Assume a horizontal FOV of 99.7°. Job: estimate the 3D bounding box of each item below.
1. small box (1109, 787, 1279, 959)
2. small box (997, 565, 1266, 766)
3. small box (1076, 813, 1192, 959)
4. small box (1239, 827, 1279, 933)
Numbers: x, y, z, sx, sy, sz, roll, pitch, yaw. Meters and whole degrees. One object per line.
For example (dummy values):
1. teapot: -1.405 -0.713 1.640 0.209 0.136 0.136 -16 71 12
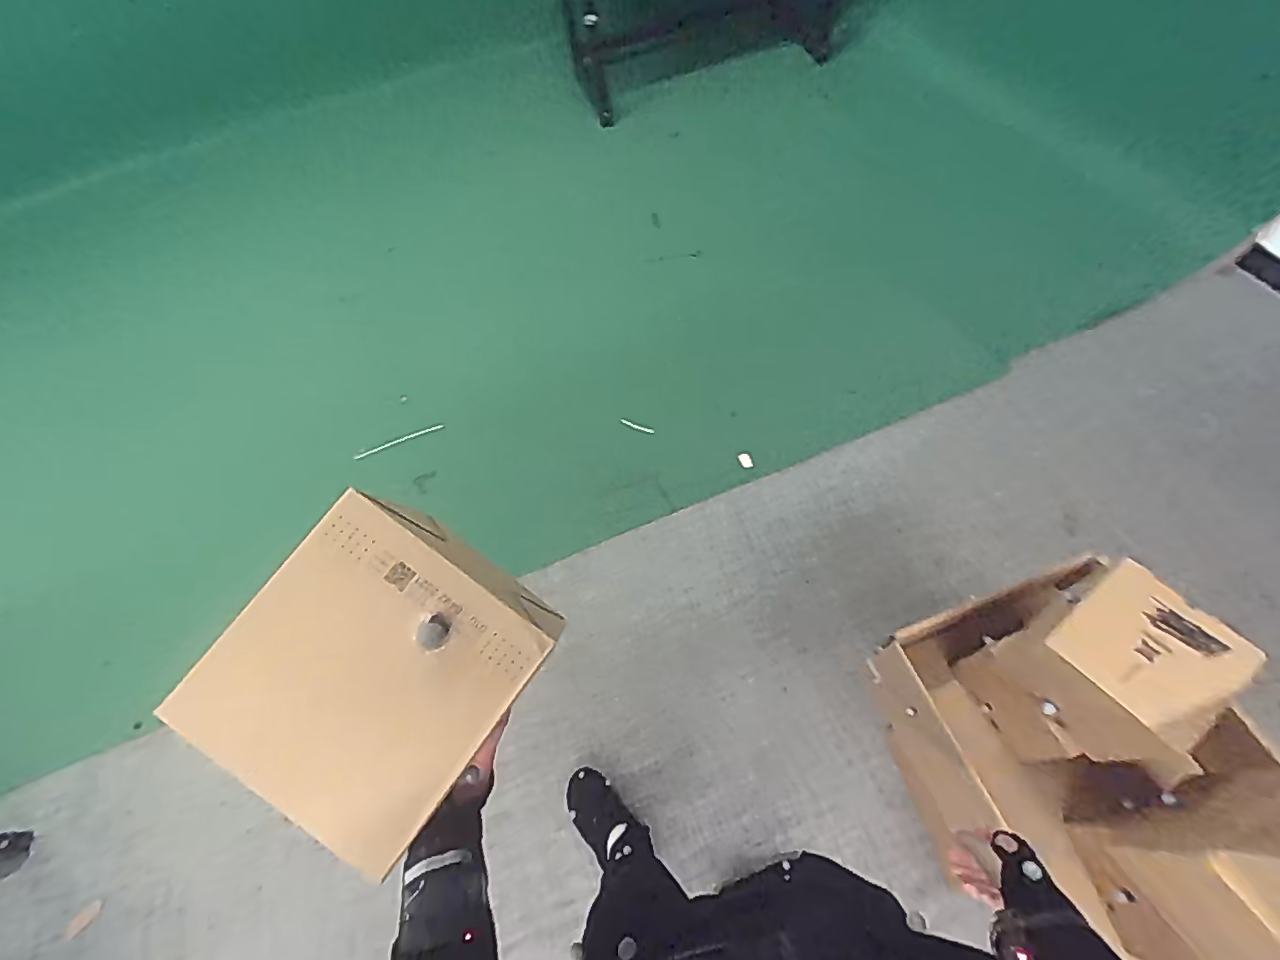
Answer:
1. small box: 0.688 0.456 0.587 0.168 0.176 0.179 -27 59 -10
2. small box: 0.622 0.248 0.714 0.179 0.176 0.168 -36 61 -12
3. small box: 0.735 0.548 0.719 0.179 0.176 0.168 -12 59 1
4. small box: 0.679 0.378 0.445 0.179 0.176 0.168 -20 58 -6
